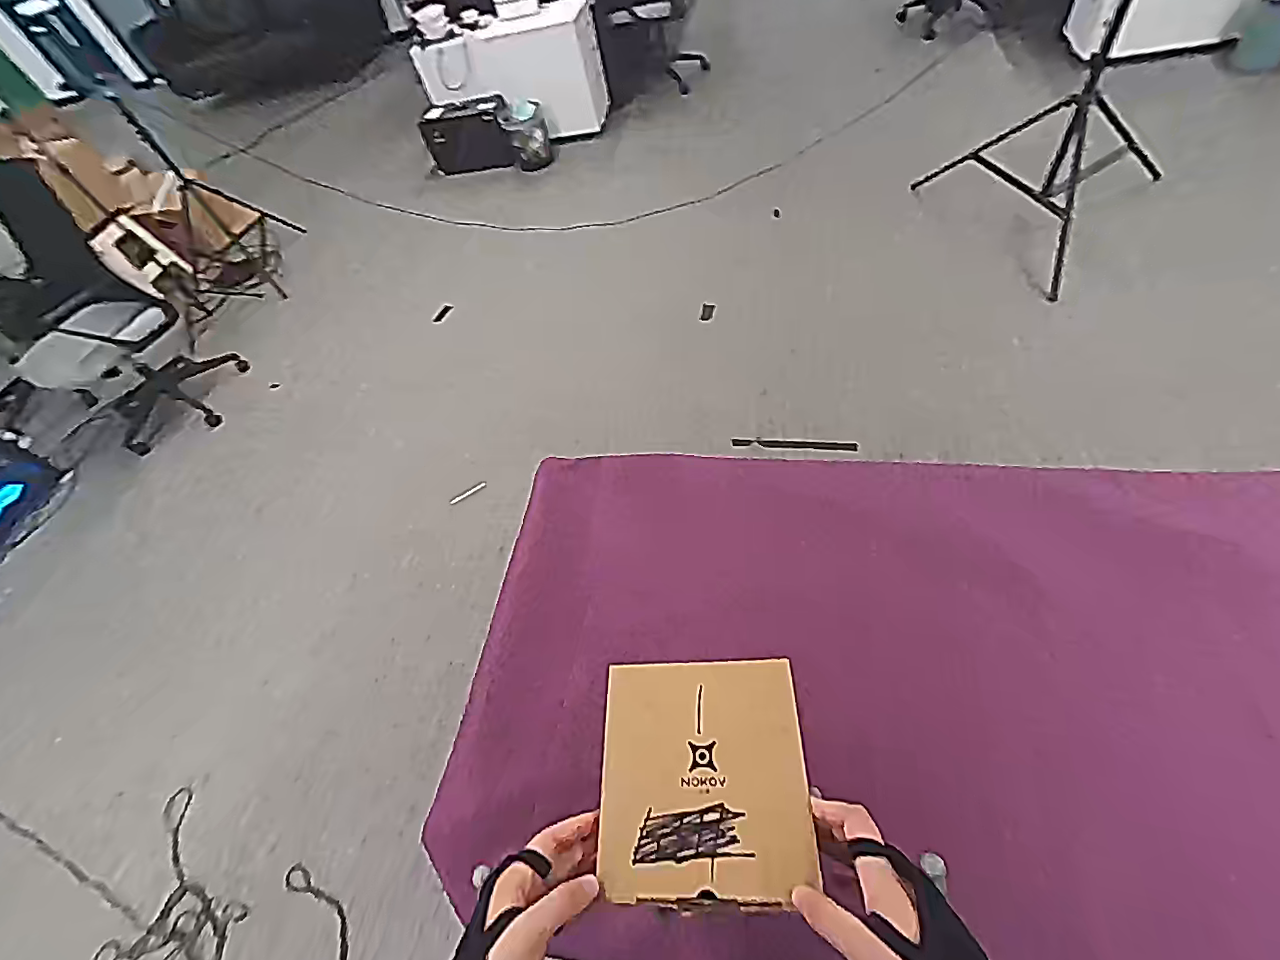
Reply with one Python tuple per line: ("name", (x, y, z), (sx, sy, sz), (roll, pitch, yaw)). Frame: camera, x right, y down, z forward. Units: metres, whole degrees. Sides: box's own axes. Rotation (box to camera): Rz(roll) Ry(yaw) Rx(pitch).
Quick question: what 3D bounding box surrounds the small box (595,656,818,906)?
("small box", (0.063, 0.280, 0.499), (0.168, 0.176, 0.179), (-4, 50, 8))
